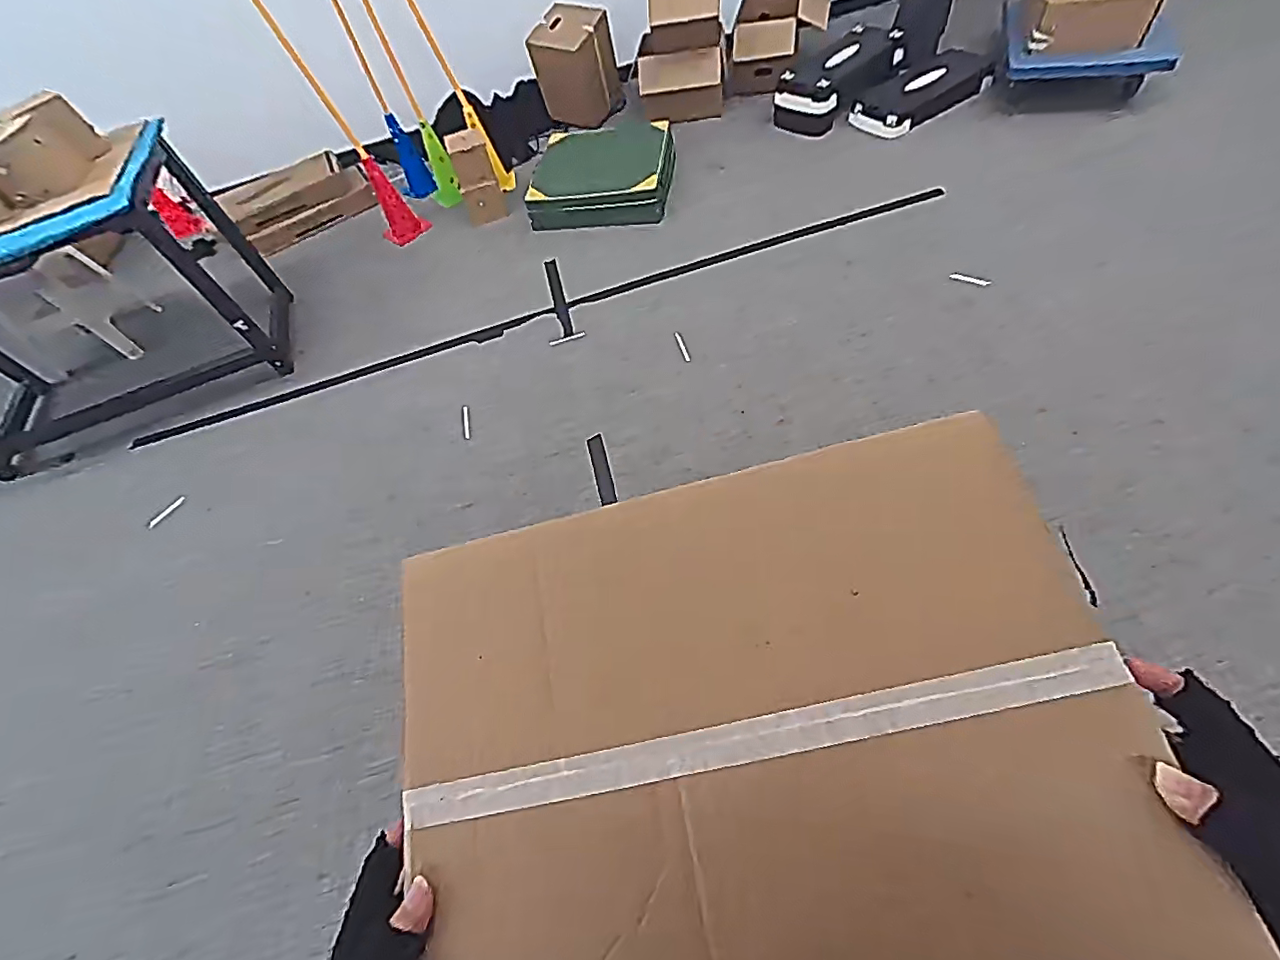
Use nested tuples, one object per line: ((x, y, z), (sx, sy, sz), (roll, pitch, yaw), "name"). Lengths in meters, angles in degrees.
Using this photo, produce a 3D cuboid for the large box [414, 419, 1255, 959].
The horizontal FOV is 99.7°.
((0.088, 0.200, 0.447), (0.408, 0.320, 0.320), (-15, 66, 7), "large box")
